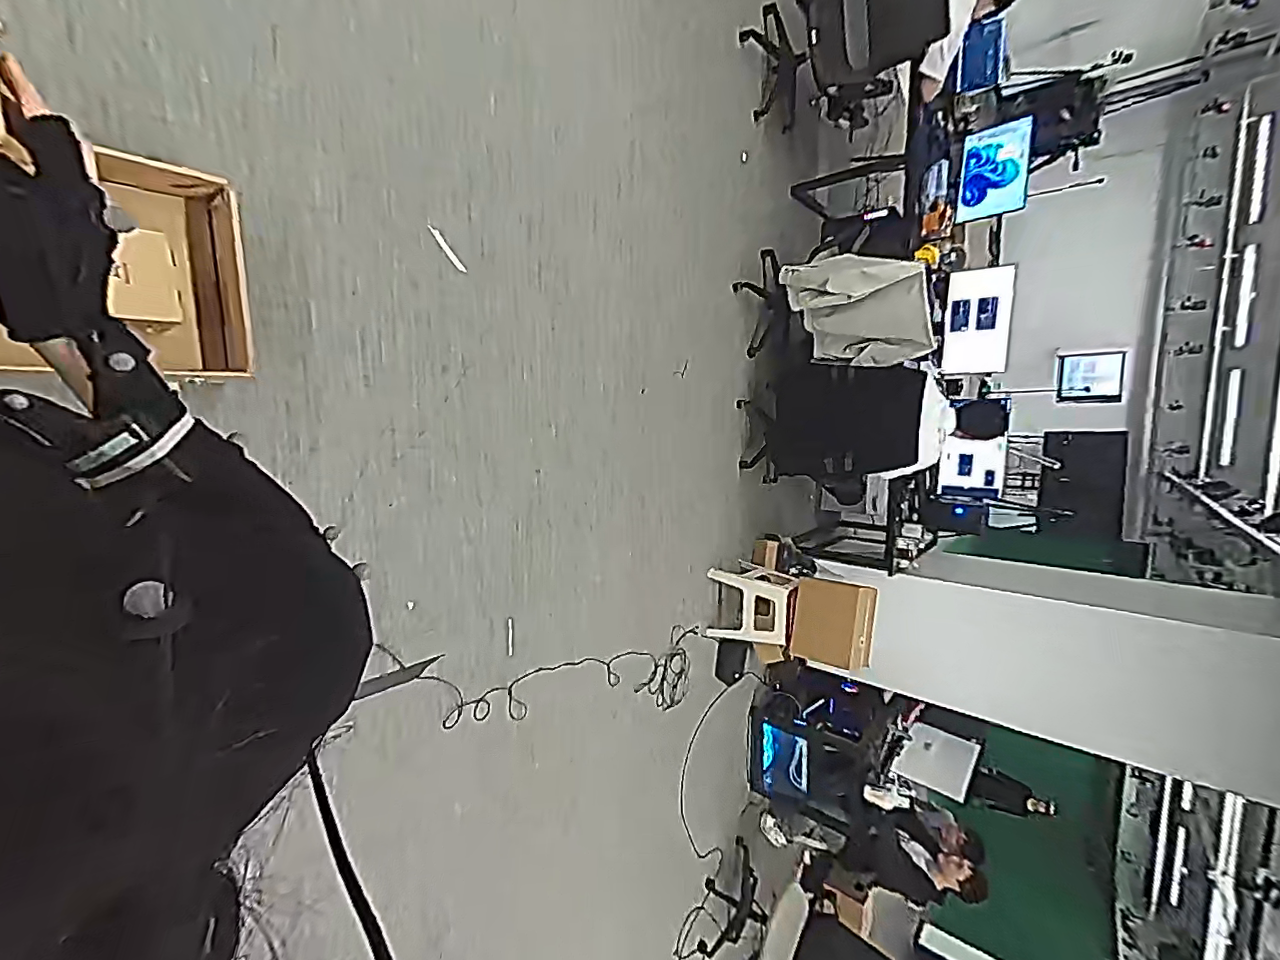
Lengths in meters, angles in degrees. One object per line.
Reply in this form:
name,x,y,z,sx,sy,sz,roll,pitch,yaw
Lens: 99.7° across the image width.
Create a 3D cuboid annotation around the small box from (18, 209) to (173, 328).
small box,-1.012,-0.380,1.006,0.179,0.176,0.168,-12,103,-49
